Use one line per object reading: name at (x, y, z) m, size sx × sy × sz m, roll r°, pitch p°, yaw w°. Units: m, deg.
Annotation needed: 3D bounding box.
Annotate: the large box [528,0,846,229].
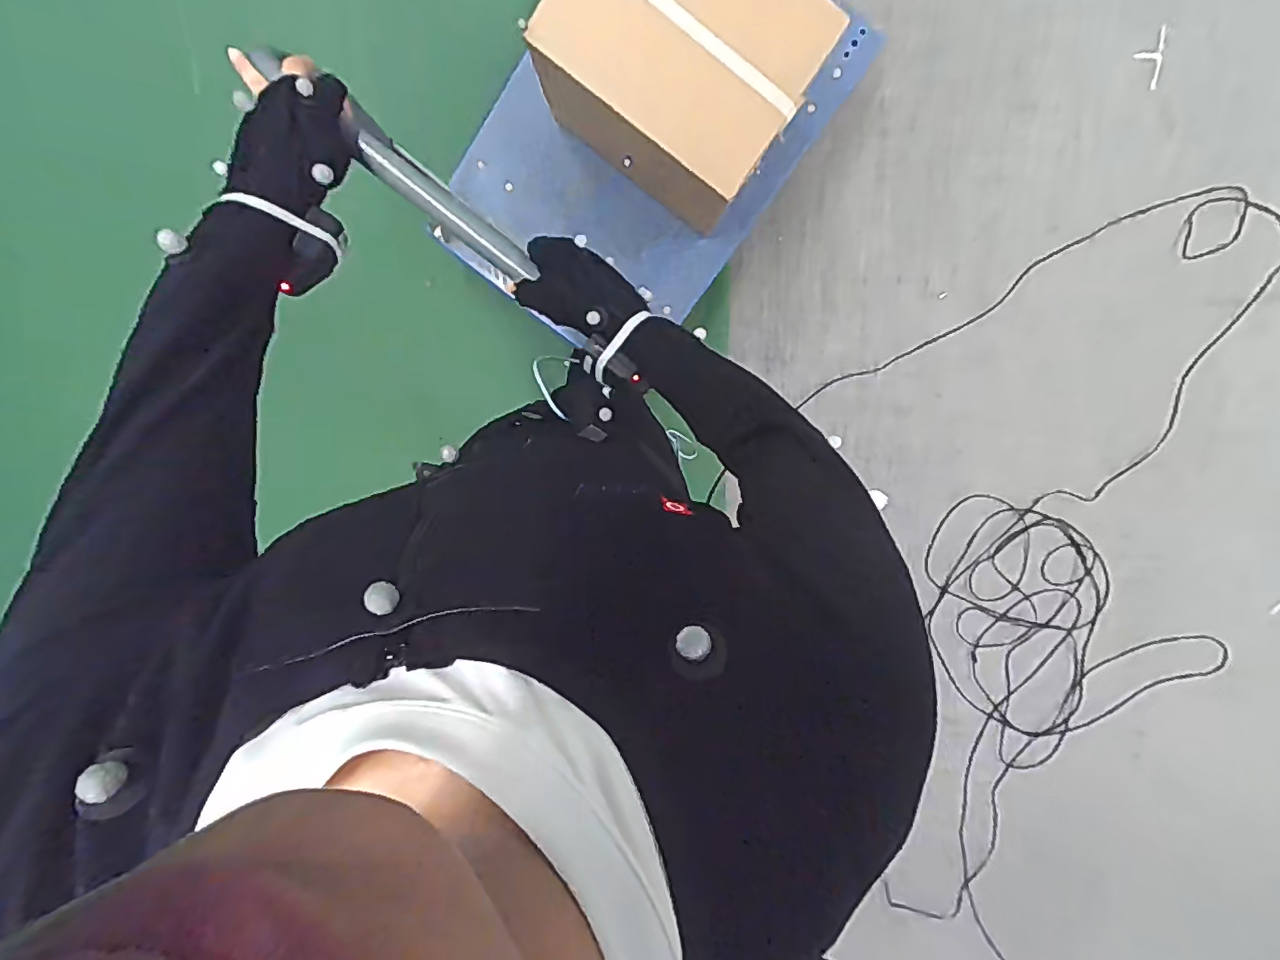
large box at (0.074, -0.732, 0.979) m, size 0.408 × 0.320 × 0.320 m, roll 34°, pitch 101°, yaw -8°
